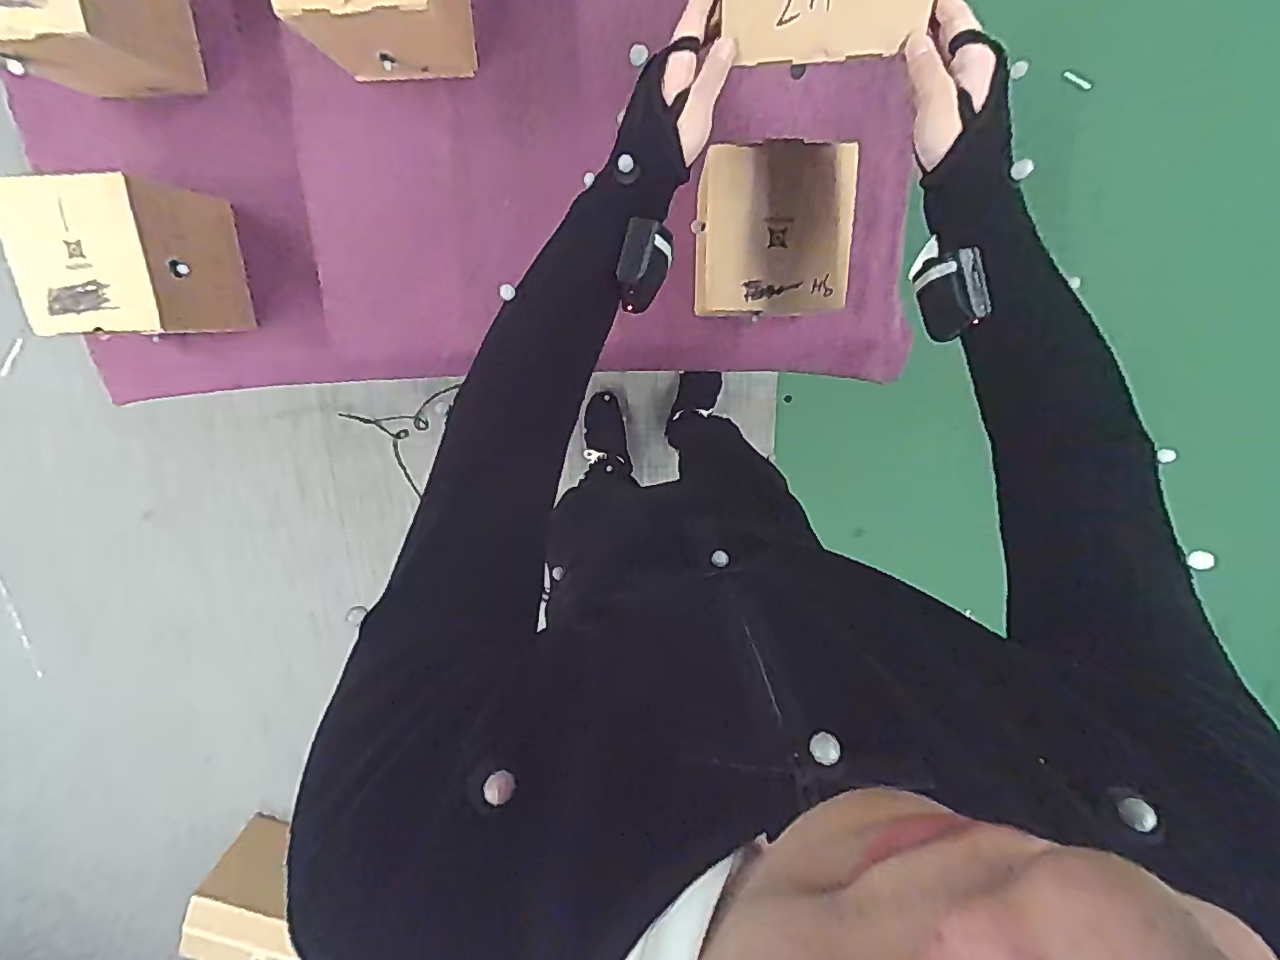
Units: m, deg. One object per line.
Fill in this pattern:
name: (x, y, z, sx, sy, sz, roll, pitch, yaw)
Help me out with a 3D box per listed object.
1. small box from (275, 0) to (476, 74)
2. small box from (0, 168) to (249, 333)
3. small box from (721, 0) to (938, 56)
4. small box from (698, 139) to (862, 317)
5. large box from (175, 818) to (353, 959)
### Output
small box: (-0.296, -0.593, 0.607, 0.168, 0.176, 0.179, -1, 108, 1)
small box: (-0.655, -0.286, 0.703, 0.168, 0.176, 0.179, -1, 106, 1)
small box: (0.157, -0.474, 0.458, 0.168, 0.176, 0.179, 1, 130, 6)
small box: (0.161, -0.303, 0.683, 0.168, 0.176, 0.179, 1, 104, 2)
large box: (-1.339, 1.511, 1.953, 0.408, 0.320, 0.320, 21, 106, -6)
